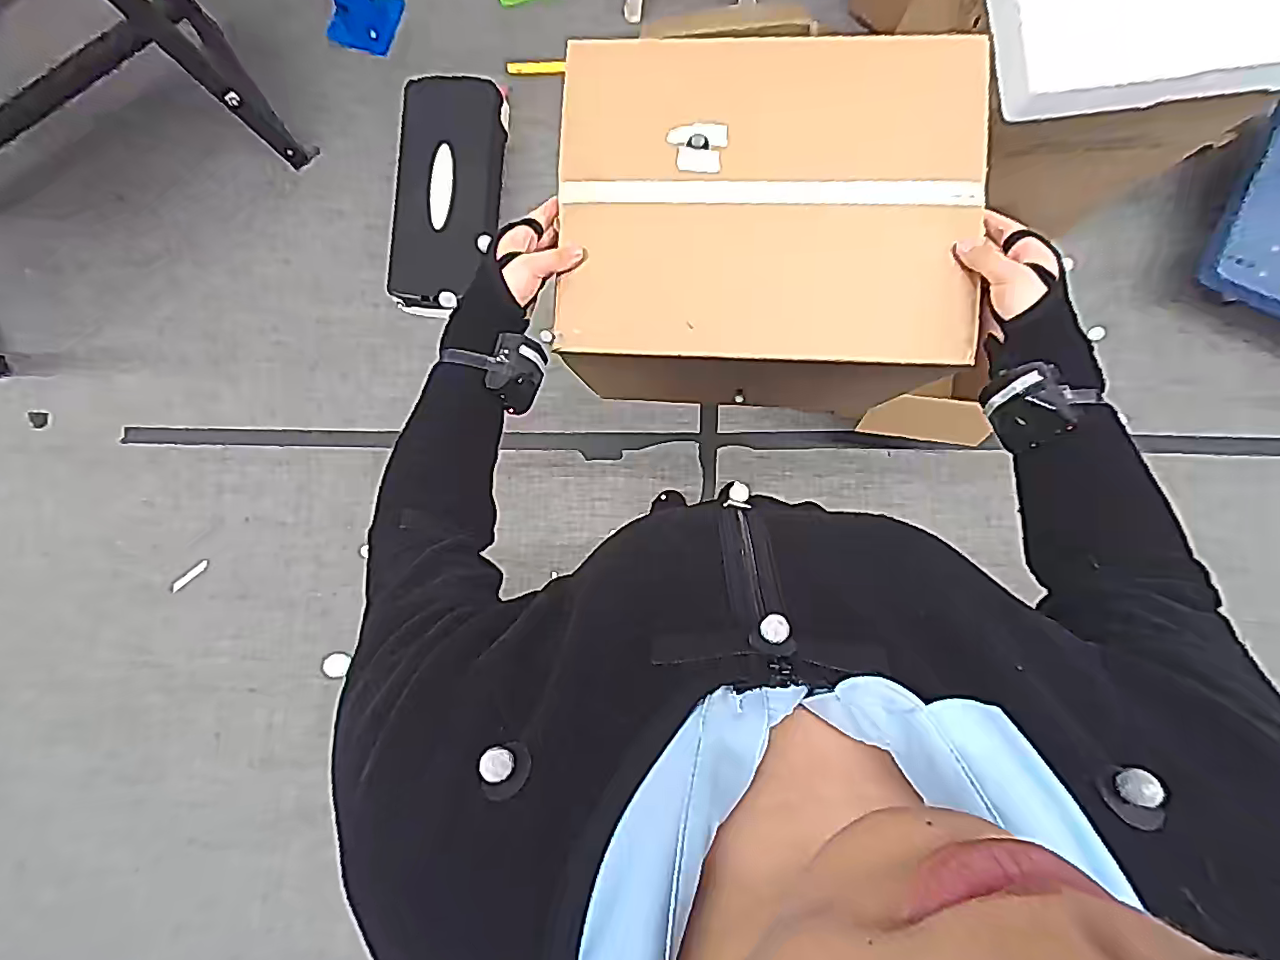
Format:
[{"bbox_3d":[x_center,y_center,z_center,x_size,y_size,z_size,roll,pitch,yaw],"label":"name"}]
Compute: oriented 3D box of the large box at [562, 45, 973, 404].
[{"bbox_3d":[0.136,-0.271,0.687,0.408,0.320,0.320,2,88,5],"label":"large box"}]
